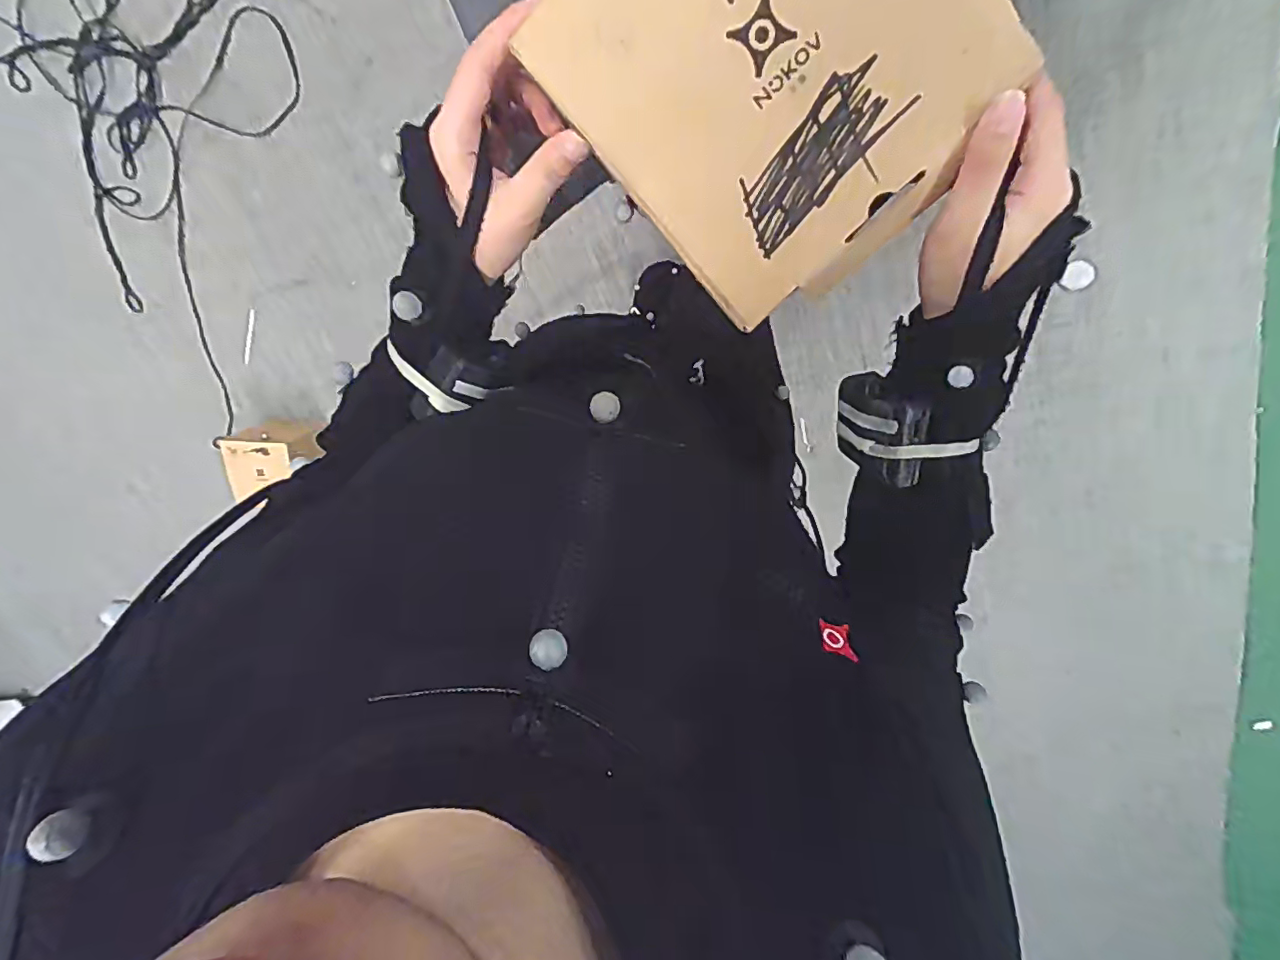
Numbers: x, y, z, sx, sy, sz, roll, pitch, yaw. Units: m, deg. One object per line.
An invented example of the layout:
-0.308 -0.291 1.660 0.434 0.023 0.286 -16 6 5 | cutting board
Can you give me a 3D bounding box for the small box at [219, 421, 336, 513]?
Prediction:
-0.898 -0.036 1.361 0.168 0.176 0.179 3 113 2 | small box
